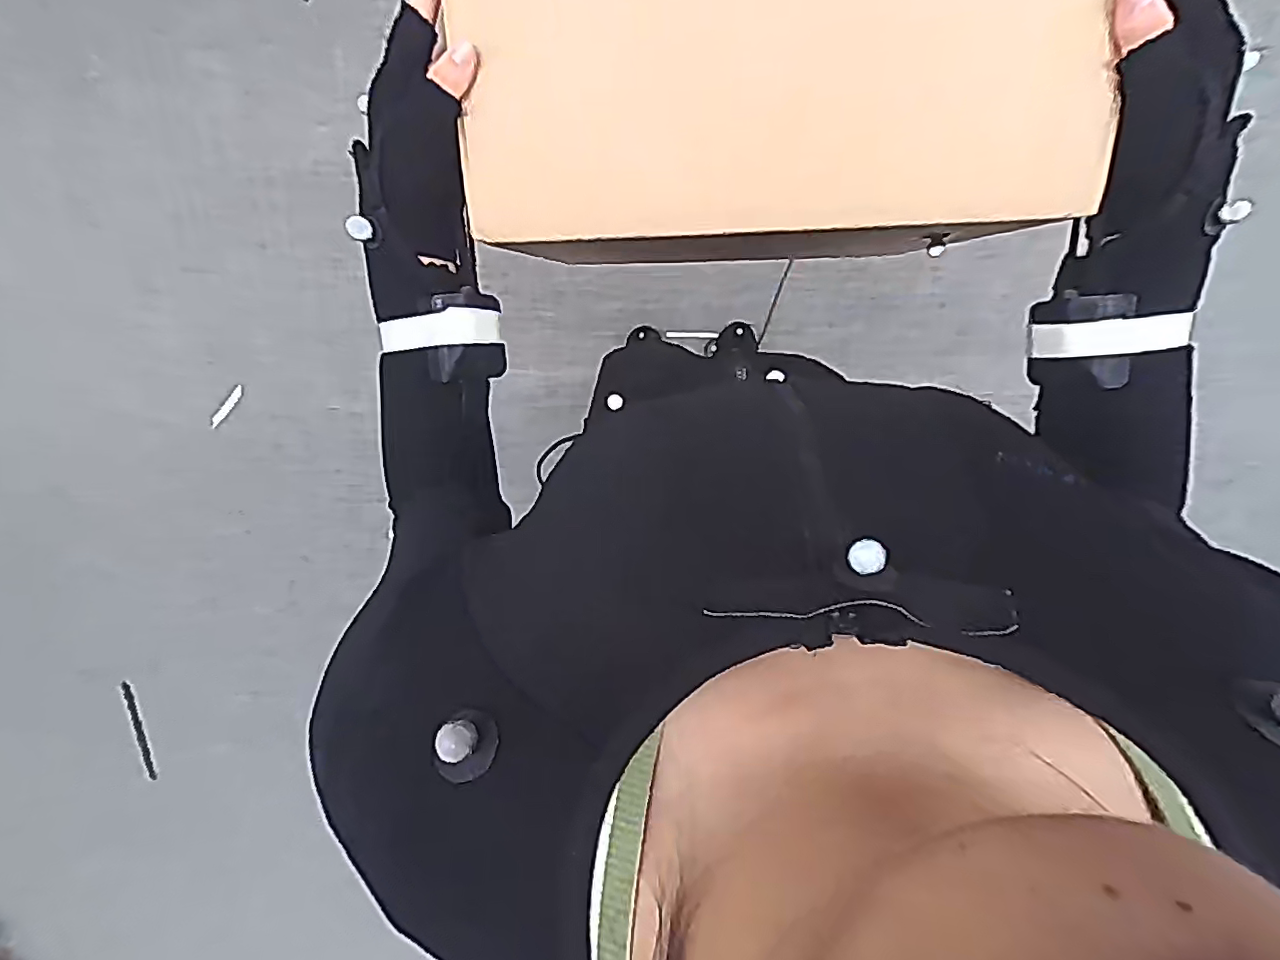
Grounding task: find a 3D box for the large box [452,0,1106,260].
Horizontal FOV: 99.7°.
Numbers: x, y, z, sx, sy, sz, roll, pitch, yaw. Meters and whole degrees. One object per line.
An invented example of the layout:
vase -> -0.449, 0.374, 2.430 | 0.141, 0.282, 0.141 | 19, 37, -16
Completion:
large box -> 0.089, -0.367, 0.461 | 0.408, 0.320, 0.320 | 0, 109, 5
